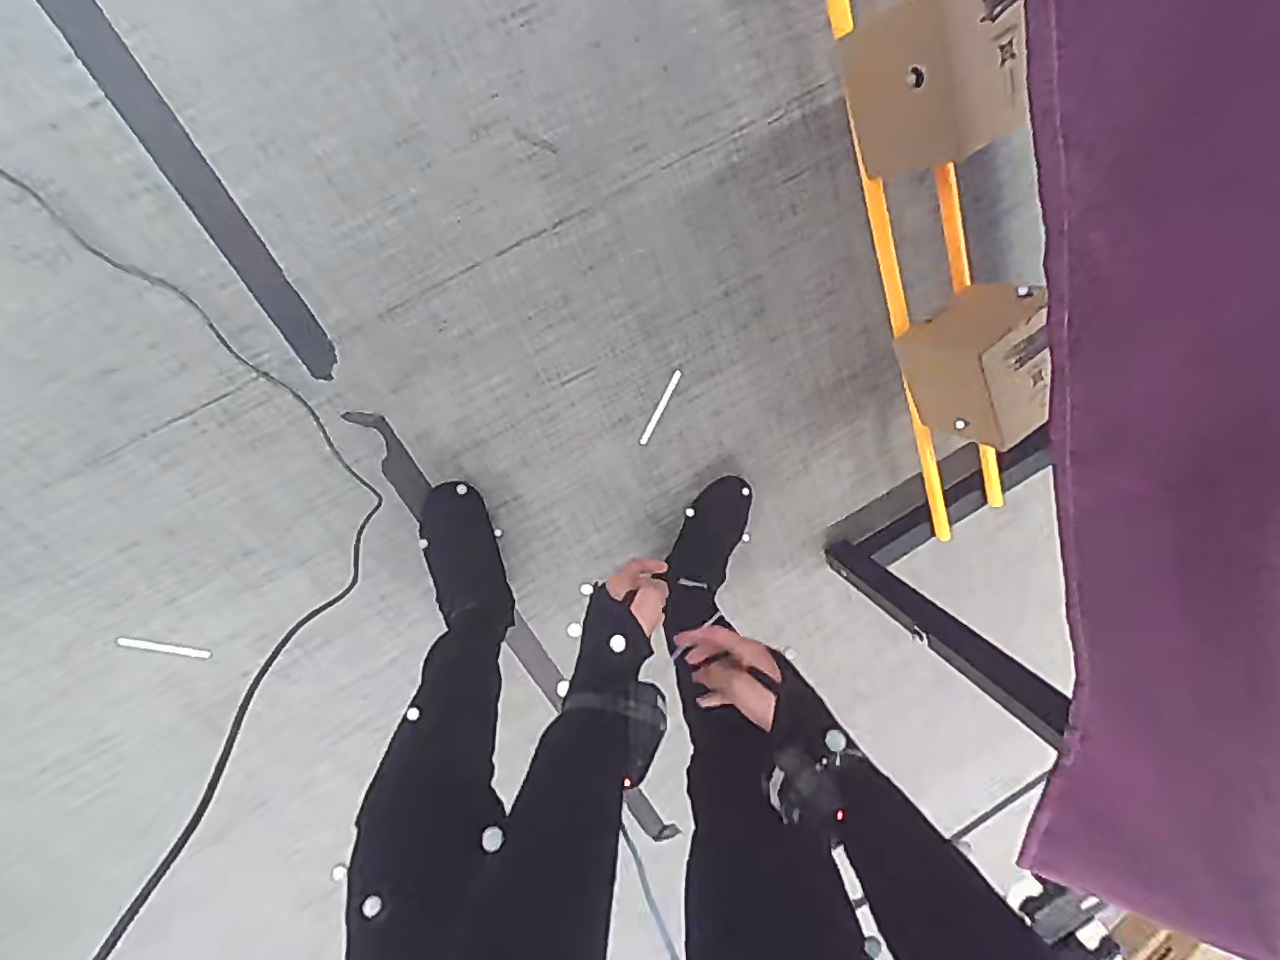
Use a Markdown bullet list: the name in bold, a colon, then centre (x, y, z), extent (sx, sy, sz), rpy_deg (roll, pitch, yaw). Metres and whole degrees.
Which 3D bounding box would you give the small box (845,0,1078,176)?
- **small box**: centre (0.379, -0.501, 0.655), extent (0.168, 0.176, 0.179), rpy_deg (-31, 118, -4)
